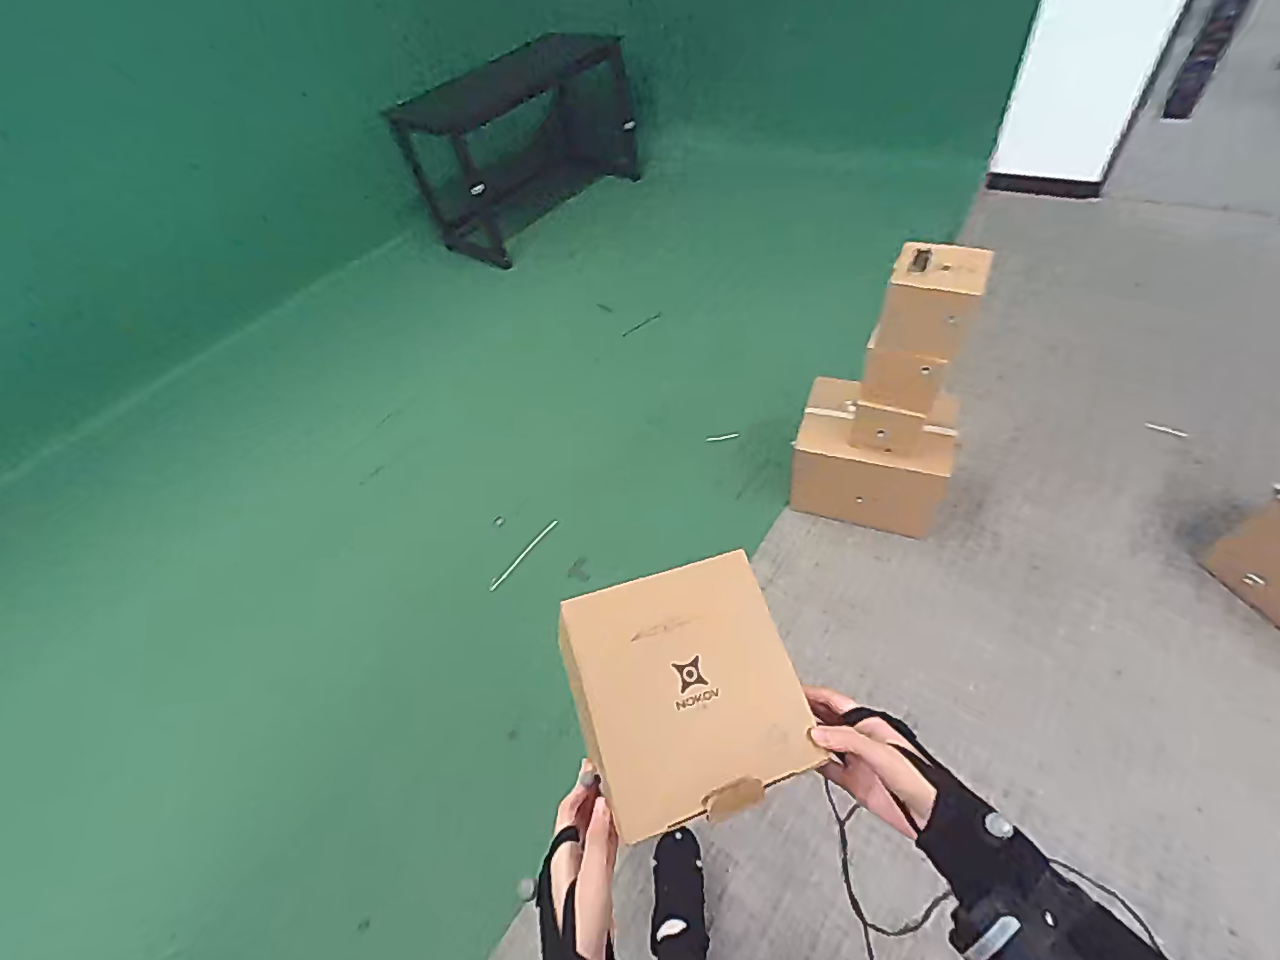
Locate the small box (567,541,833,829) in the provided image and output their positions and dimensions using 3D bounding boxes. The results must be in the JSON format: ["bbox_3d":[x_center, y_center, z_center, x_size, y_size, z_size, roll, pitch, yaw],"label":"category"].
[{"bbox_3d":[0.034,0.178,0.485,0.168,0.176,0.179,-12,66,-15],"label":"small box"}]

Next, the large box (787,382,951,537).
[{"bbox_3d":[0.689,-0.064,1.657,0.408,0.320,0.320,12,54,21],"label":"large box"}]

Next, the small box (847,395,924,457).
[{"bbox_3d":[0.662,-0.187,1.442,0.168,0.176,0.179,18,58,23],"label":"small box"}]

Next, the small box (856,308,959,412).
[{"bbox_3d":[0.644,-0.290,1.318,0.179,0.176,0.168,19,58,23],"label":"small box"}]
